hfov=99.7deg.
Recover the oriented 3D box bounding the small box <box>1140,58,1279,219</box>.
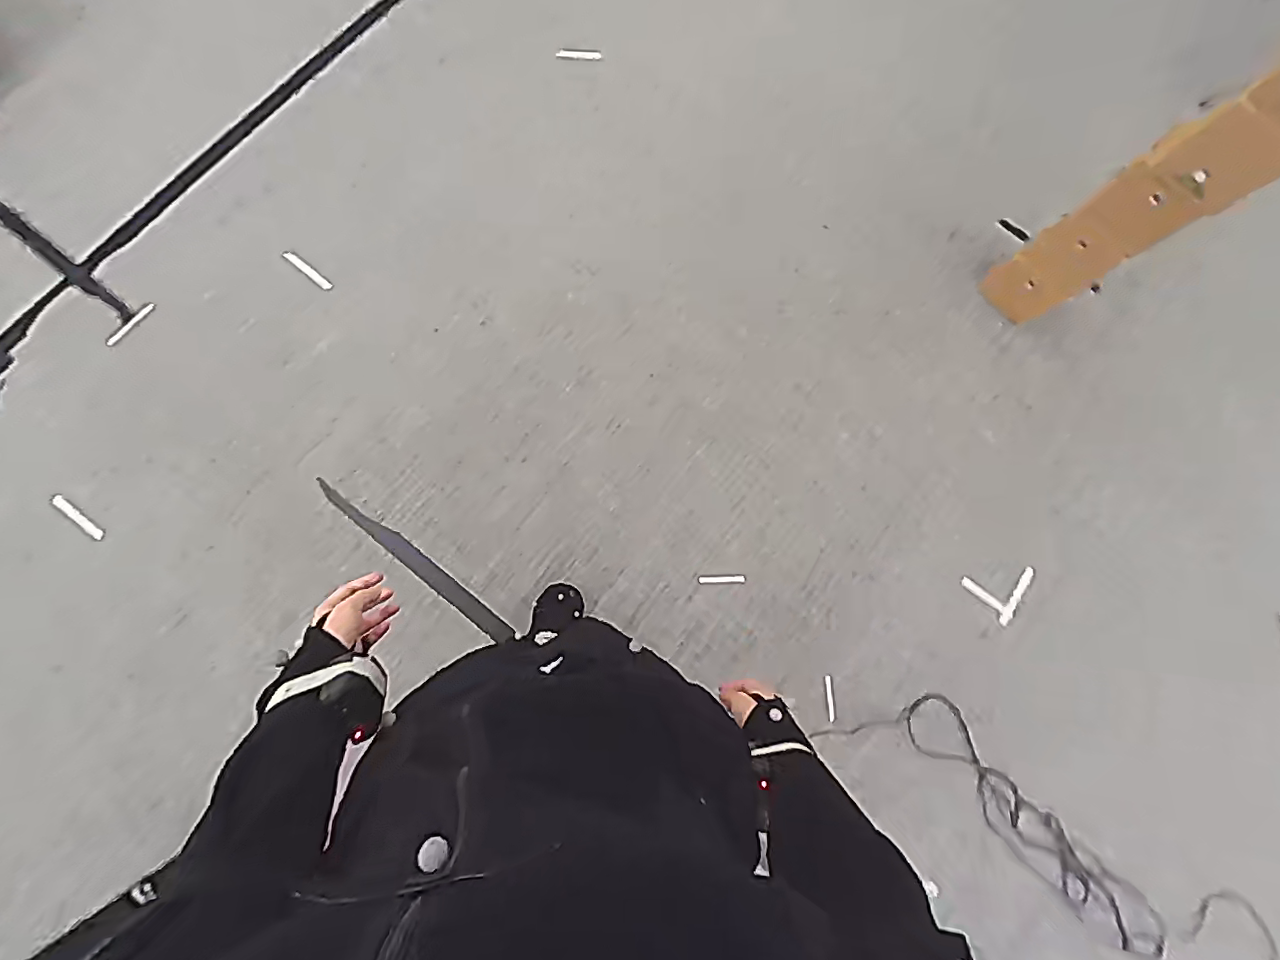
[{"bbox_3d":[1.149,-0.660,1.053,0.168,0.176,0.179,45,81,5],"label":"small box"}]

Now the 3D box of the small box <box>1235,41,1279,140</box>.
[{"bbox_3d":[1.167,-0.695,0.894,0.168,0.176,0.179,42,81,4],"label":"small box"}]

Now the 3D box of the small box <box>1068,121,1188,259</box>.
[{"bbox_3d":[1.130,-0.642,1.216,0.168,0.176,0.179,-44,86,-9],"label":"small box"}]

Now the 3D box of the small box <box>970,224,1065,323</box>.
[{"bbox_3d":[1.096,-0.571,1.532,0.179,0.176,0.168,45,80,4],"label":"small box"}]

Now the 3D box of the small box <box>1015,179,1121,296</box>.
[{"bbox_3d":[1.113,-0.607,1.373,0.168,0.176,0.179,-41,85,-9],"label":"small box"}]
